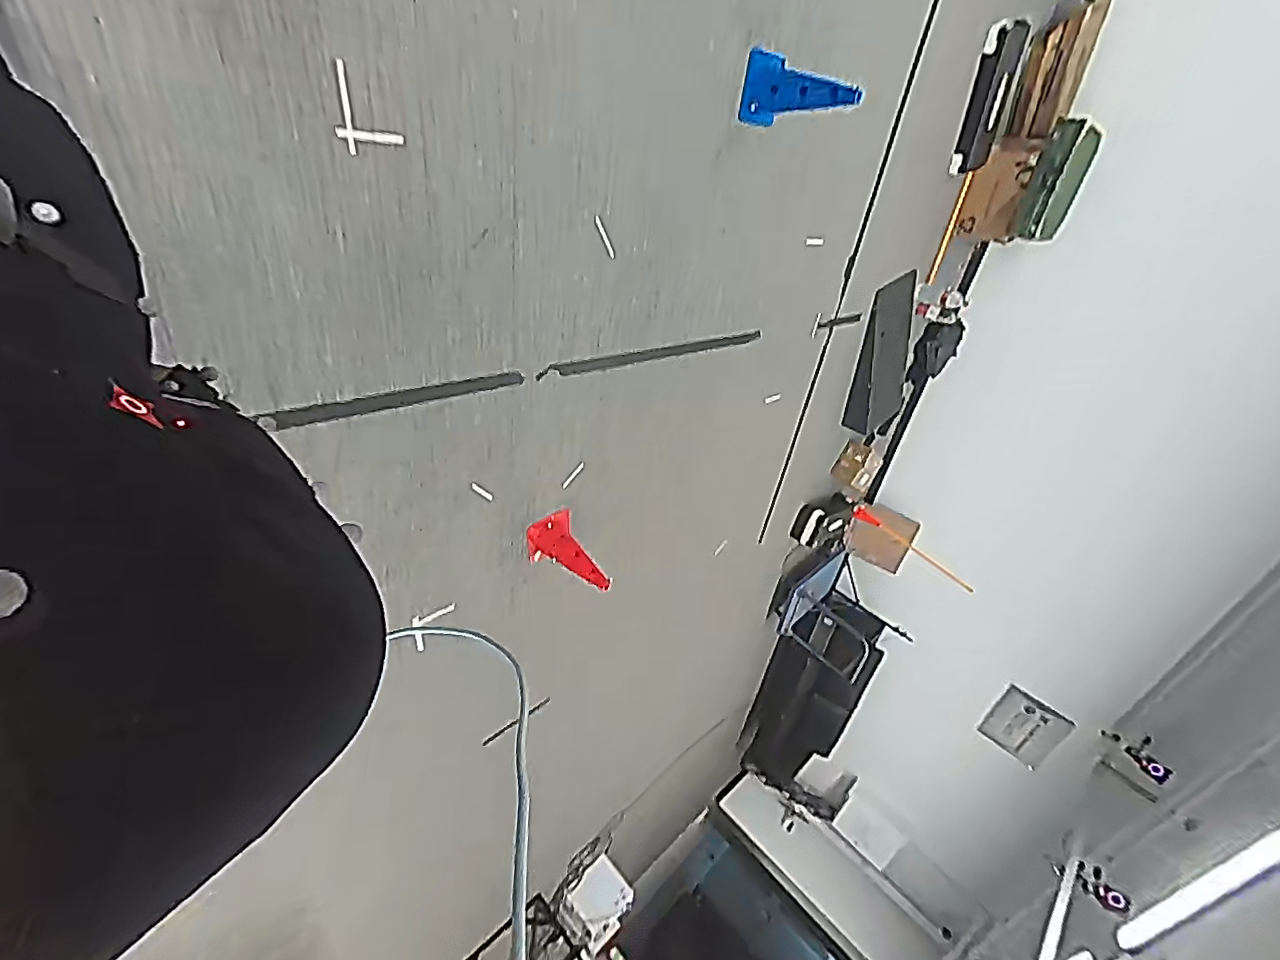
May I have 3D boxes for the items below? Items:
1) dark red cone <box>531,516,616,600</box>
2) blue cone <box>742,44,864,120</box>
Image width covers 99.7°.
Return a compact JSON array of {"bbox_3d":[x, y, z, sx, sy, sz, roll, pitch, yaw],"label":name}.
[{"bbox_3d":[-0.229,0.321,2.034,0.202,0.394,0.201,-28,136,-35],"label":"dark red cone"},{"bbox_3d":[0.517,-1.237,1.695,0.193,0.380,0.192,-21,132,-40],"label":"blue cone"}]
